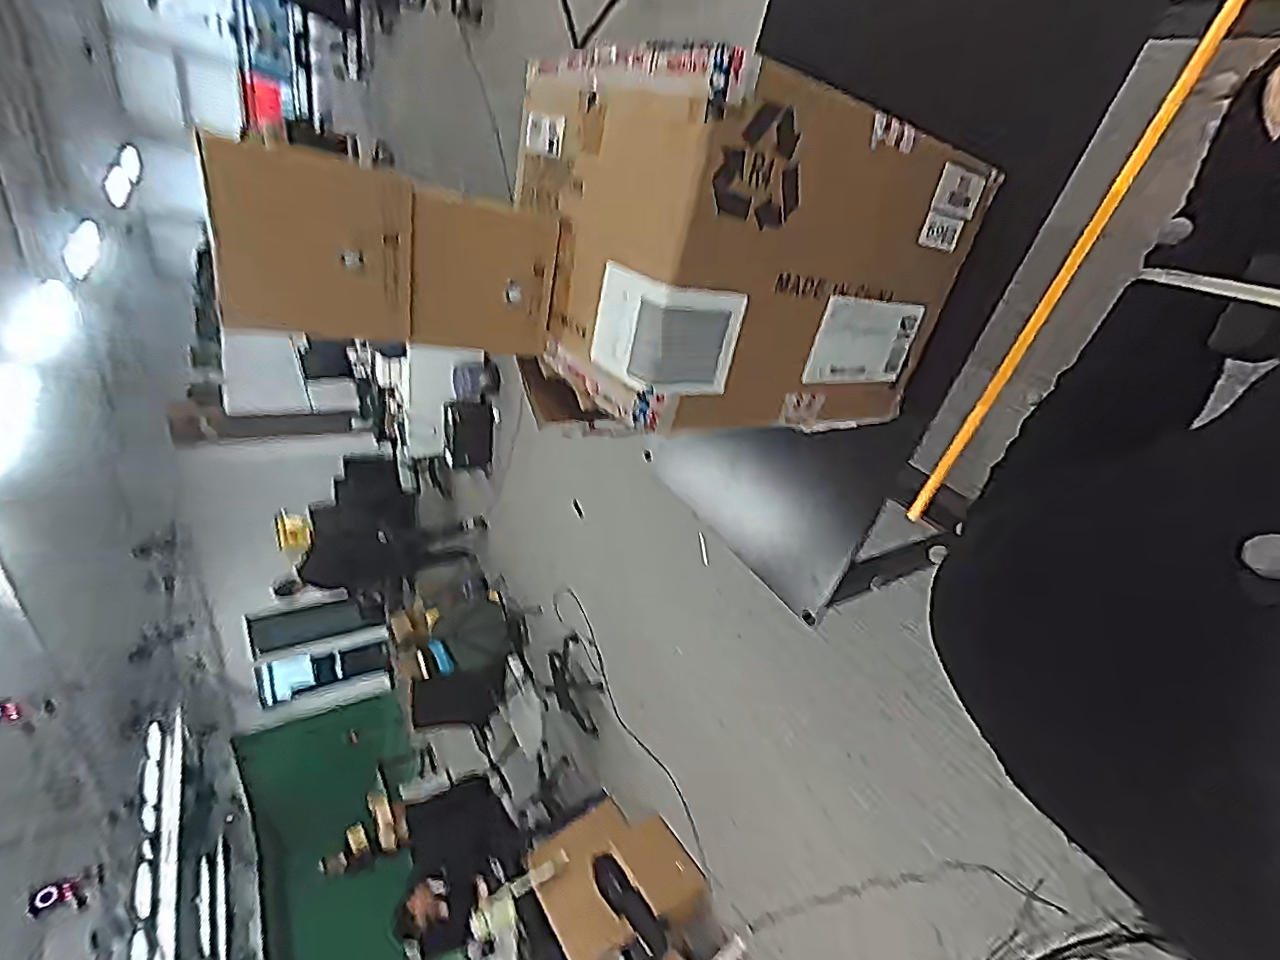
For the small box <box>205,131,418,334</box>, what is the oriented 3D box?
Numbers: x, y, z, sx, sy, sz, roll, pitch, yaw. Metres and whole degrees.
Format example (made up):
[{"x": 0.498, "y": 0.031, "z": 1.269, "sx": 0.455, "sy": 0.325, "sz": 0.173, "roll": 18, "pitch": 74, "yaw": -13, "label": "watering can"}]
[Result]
[{"x": -0.348, "y": -0.260, "z": 0.586, "sx": 0.179, "sy": 0.176, "sz": 0.168, "roll": 40, "pitch": 127, "yaw": 47, "label": "small box"}]

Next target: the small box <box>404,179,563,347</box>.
[{"x": -0.216, "y": -0.272, "z": 0.685, "sx": 0.179, "sy": 0.176, "sz": 0.168, "roll": 41, "pitch": 128, "yaw": 46, "label": "small box"}]
